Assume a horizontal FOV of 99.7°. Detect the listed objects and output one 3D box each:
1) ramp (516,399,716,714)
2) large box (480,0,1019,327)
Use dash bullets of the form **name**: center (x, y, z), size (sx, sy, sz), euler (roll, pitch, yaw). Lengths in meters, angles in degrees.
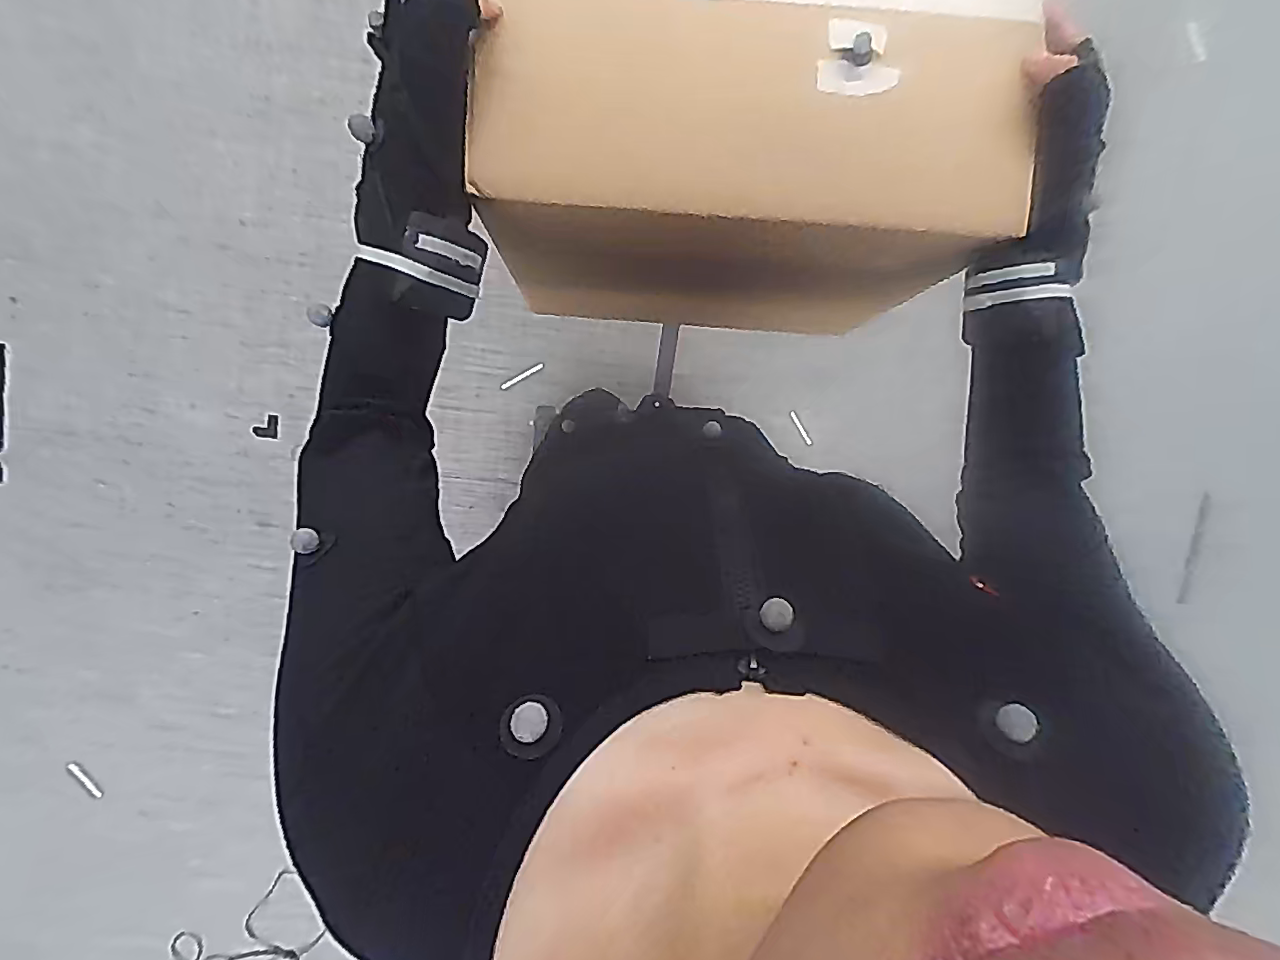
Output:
- **ramp**: center (-0.094, 0.276, 1.613), size (0.509, 0.206, 0.991), euler (5, 98, -5)
- **large box**: center (0.077, -0.353, 0.545), size (0.408, 0.320, 0.320), euler (3, 92, -3)
